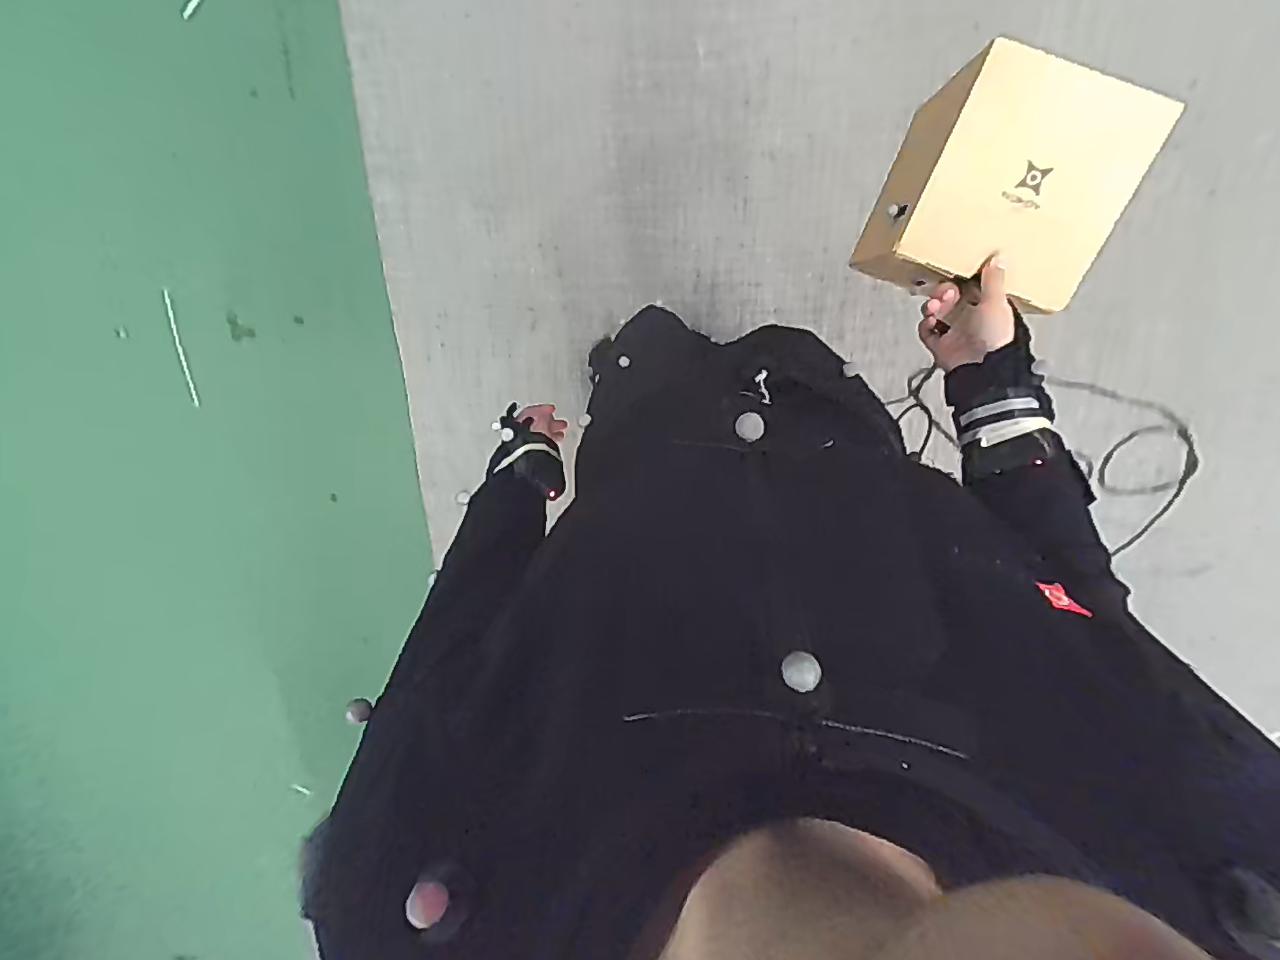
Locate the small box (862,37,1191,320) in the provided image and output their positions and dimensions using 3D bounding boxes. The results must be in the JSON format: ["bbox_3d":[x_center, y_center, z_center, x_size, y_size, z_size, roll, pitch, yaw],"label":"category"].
[{"bbox_3d":[0.348,-0.274,0.536,0.168,0.176,0.179,21,109,-1],"label":"small box"}]
